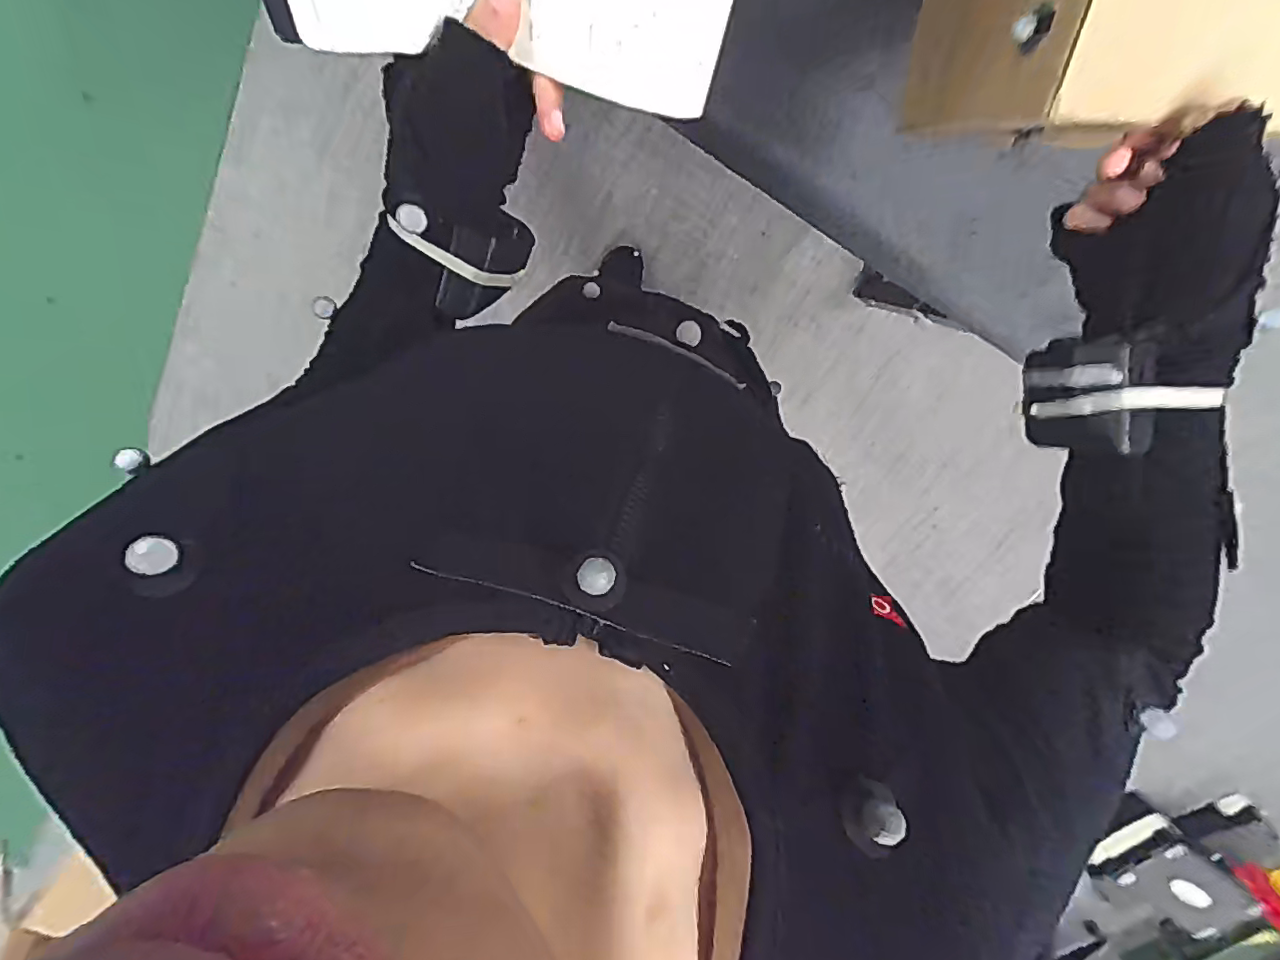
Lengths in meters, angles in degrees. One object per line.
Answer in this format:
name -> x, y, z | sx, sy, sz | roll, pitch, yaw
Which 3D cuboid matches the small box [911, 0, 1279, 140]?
small box -> 0.283, -0.296, 0.299 | 0.168, 0.176, 0.179 | -1, 122, -5
